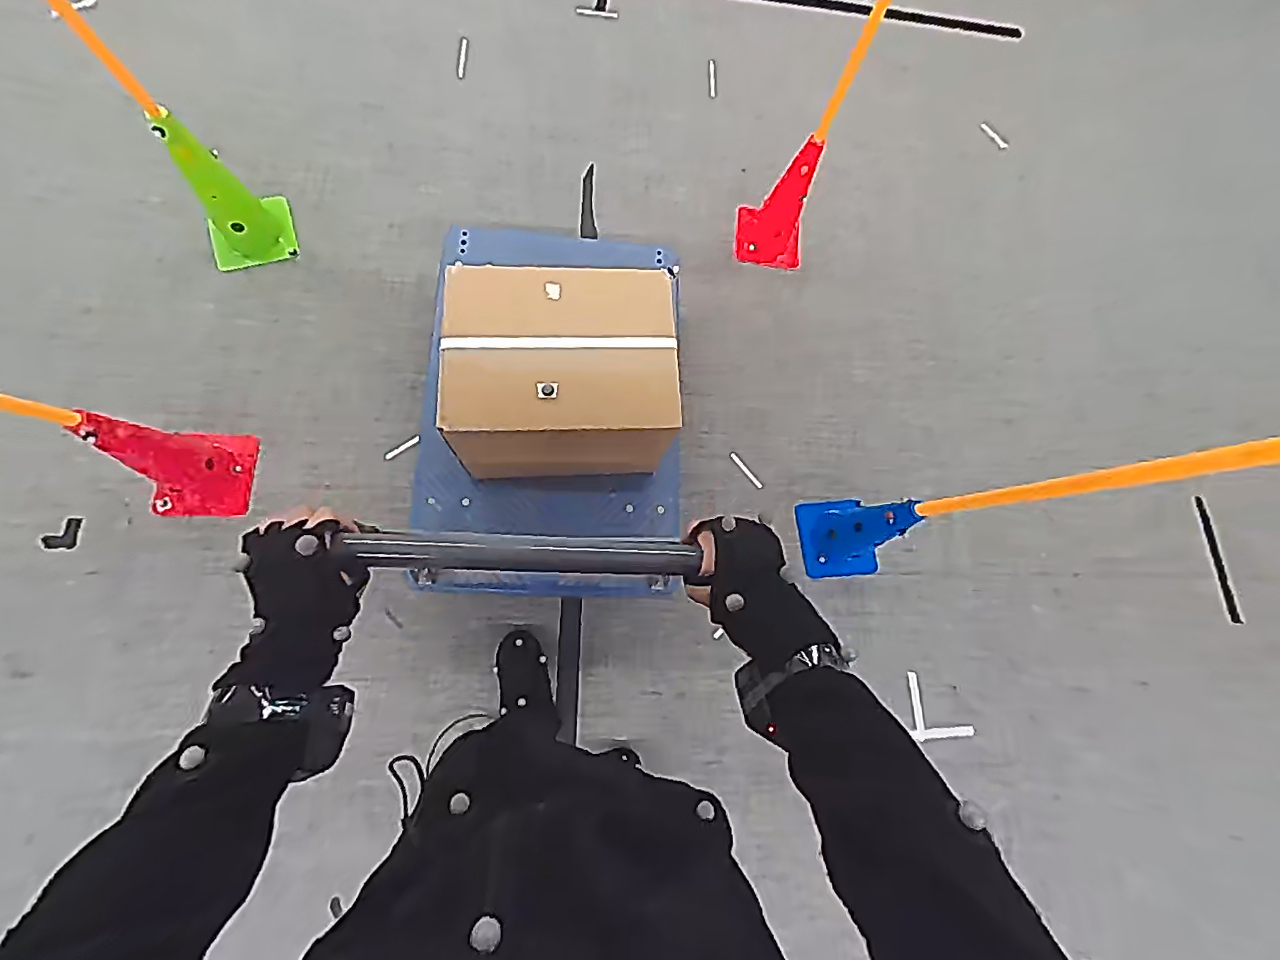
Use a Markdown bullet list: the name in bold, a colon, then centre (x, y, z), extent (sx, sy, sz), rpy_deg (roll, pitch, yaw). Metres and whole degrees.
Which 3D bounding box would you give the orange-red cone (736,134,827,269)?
- **orange-red cone**: centre (0.416, -0.781, 1.478), extent (0.199, 0.360, 0.198), rpy_deg (8, 75, -6)

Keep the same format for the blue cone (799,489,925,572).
- **blue cone**: centre (0.542, 0.097, 1.269), extent (0.193, 0.380, 0.192), rpy_deg (-2, 74, -8)
